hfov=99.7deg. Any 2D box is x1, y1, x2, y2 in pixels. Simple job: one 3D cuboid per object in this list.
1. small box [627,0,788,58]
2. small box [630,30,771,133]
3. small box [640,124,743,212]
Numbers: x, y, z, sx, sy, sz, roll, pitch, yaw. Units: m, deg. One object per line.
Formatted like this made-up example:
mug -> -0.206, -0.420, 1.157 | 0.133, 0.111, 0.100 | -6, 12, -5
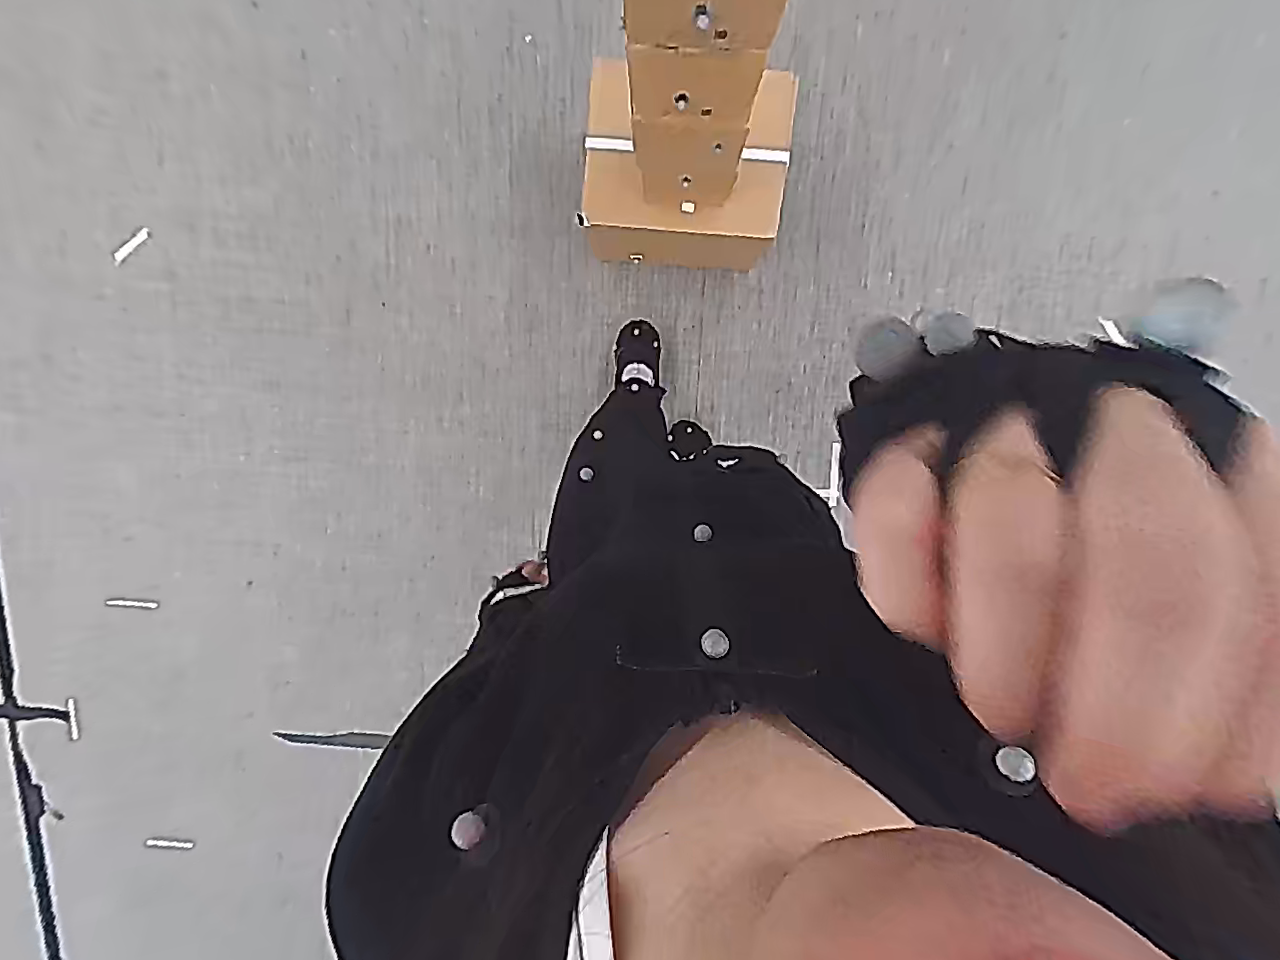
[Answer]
small box -> 0.070, -0.562, 0.528 | 0.168, 0.176, 0.179 | 2, 99, 2
small box -> 0.075, -0.583, 0.692 | 0.168, 0.176, 0.179 | 4, 99, 1
small box -> 0.093, -0.618, 1.016 | 0.179, 0.176, 0.168 | 3, 99, 1
